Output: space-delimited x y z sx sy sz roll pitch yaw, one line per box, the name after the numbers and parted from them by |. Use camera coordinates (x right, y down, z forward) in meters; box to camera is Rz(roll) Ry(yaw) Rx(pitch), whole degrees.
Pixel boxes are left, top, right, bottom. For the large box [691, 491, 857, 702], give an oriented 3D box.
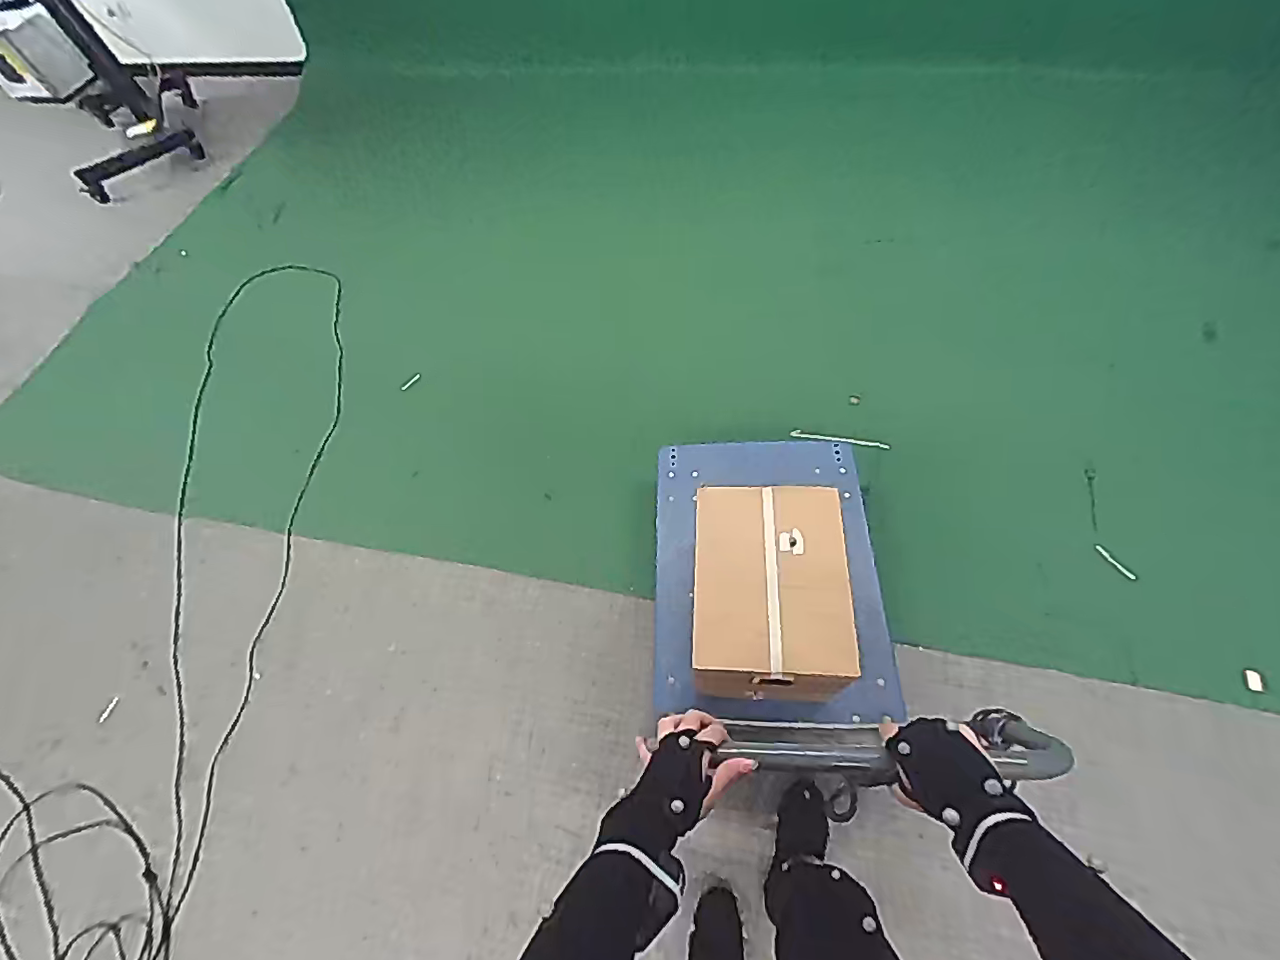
0.283 0.274 1.247 0.320 0.320 0.408 0 59 7 | large box
